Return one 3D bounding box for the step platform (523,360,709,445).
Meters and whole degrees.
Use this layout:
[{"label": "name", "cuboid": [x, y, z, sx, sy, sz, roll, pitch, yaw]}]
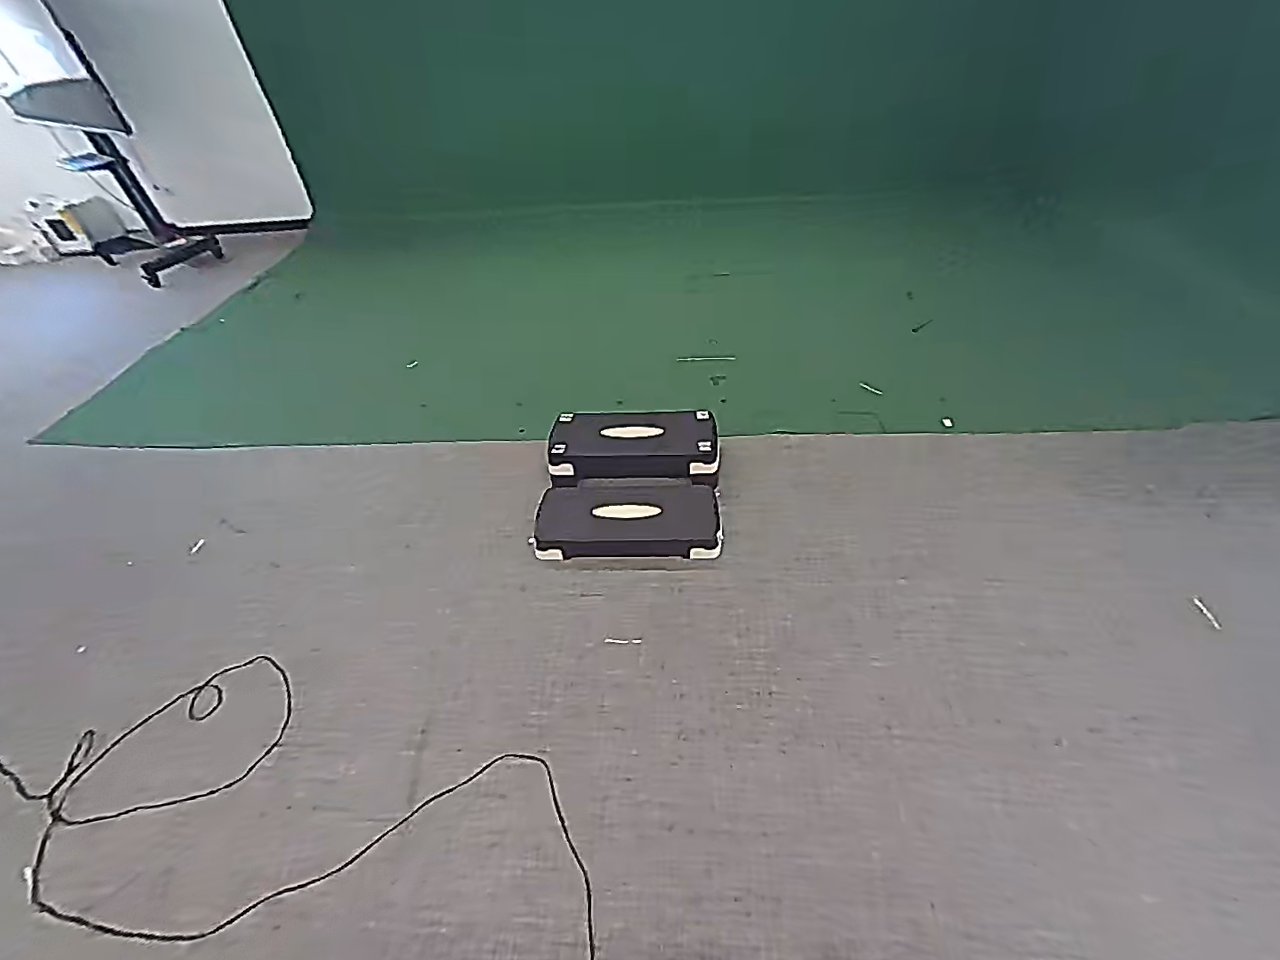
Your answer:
[{"label": "step platform", "cuboid": [-0.082, -0.294, 2.067, 0.684, 0.204, 0.286, -1, 44, 5]}]
